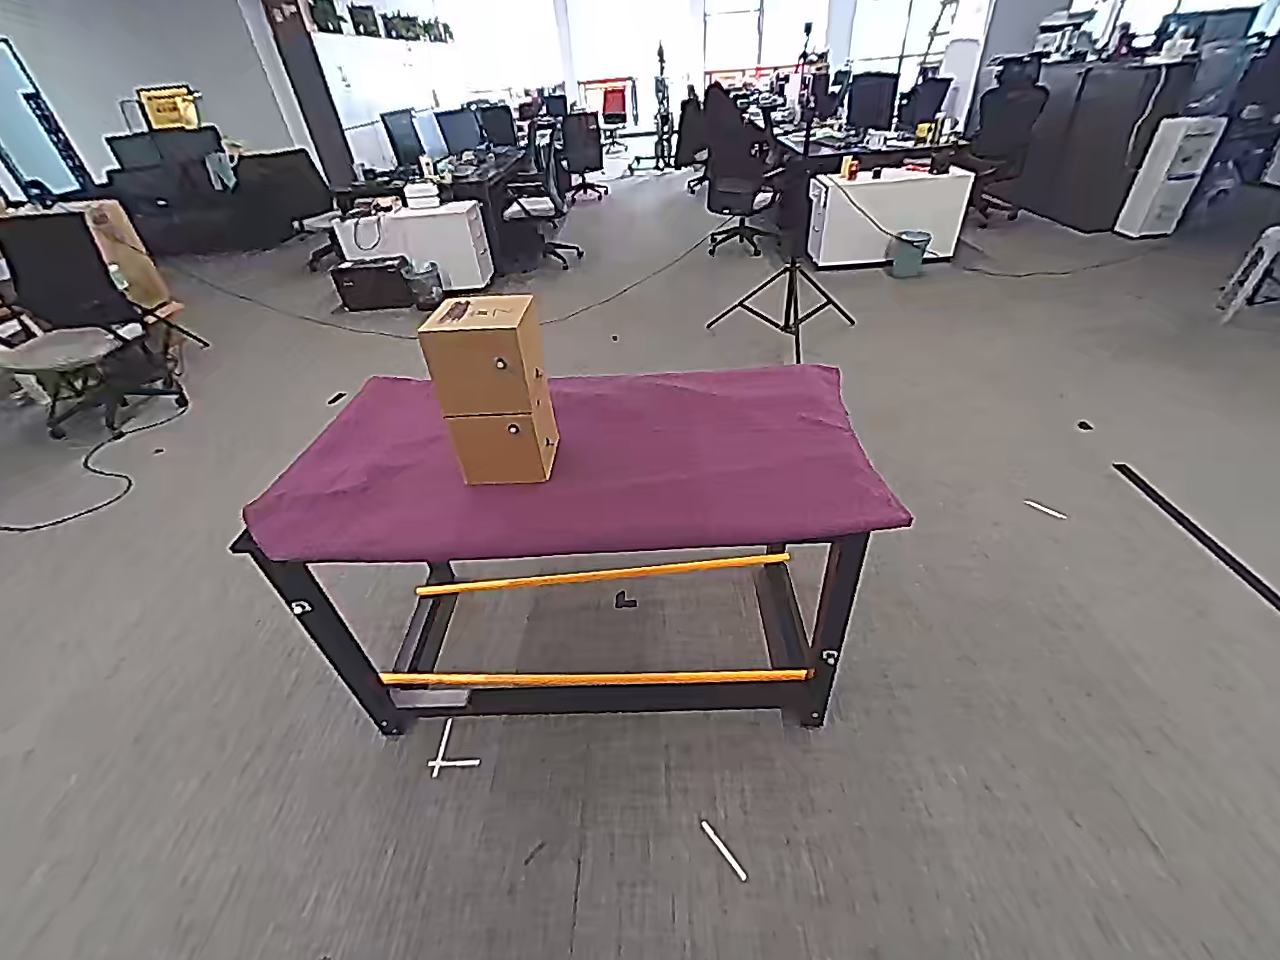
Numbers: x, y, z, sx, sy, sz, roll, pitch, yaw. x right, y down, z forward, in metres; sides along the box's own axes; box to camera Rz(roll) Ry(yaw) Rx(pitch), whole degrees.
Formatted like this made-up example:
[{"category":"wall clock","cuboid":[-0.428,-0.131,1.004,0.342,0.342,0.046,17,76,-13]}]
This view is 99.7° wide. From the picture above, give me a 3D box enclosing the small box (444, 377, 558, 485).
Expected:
[{"category":"small box","cuboid":[-0.281,-0.101,1.132,0.179,0.176,0.168,-2,37,3]}]
